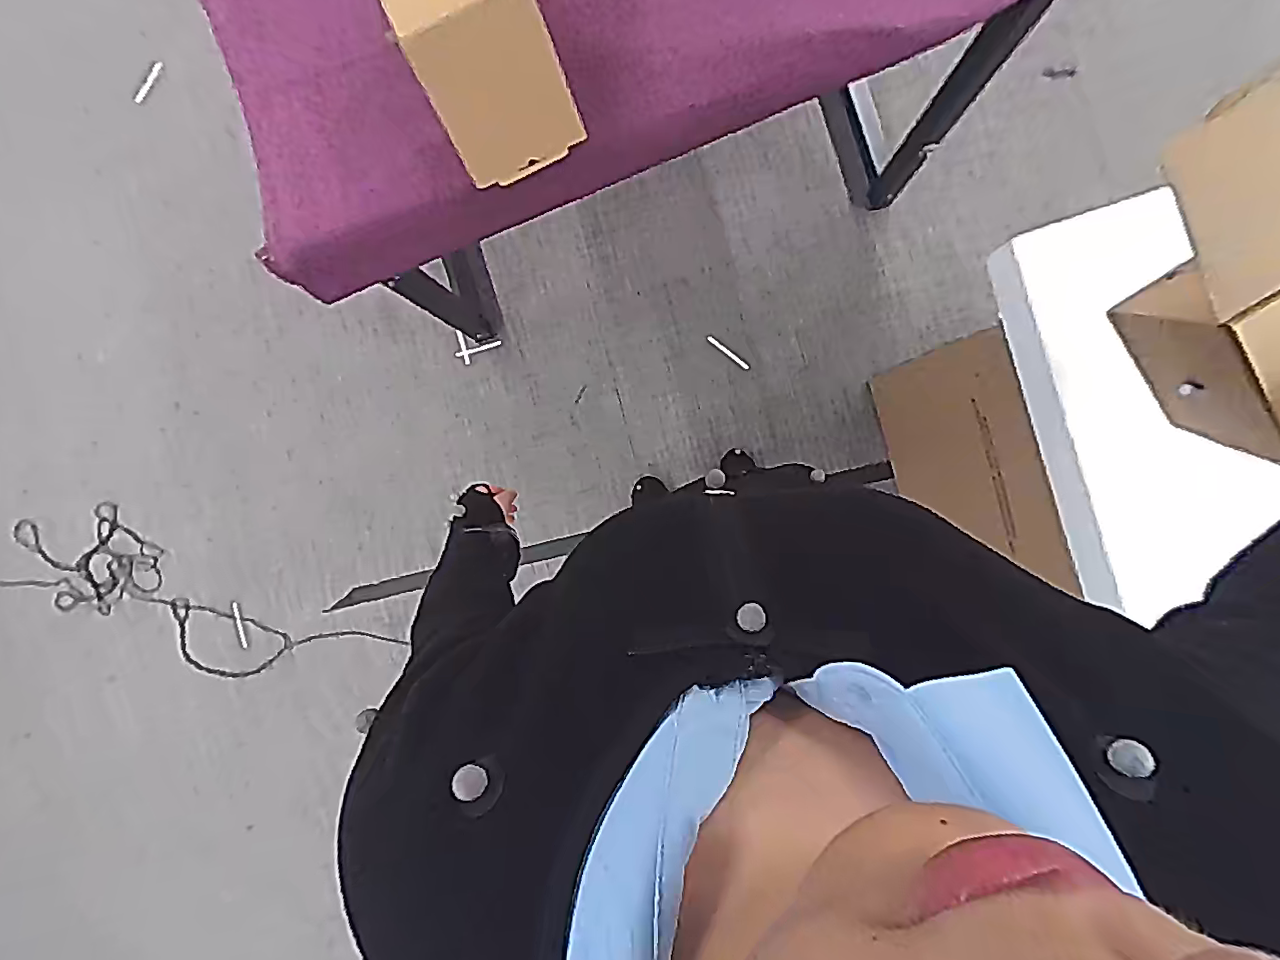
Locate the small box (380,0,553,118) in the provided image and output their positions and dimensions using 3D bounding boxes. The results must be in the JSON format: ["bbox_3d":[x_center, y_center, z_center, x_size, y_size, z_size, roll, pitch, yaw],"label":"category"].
[{"bbox_3d":[-0.231,-0.613,0.698,0.168,0.176,0.179,-23,88,4],"label":"small box"}]
